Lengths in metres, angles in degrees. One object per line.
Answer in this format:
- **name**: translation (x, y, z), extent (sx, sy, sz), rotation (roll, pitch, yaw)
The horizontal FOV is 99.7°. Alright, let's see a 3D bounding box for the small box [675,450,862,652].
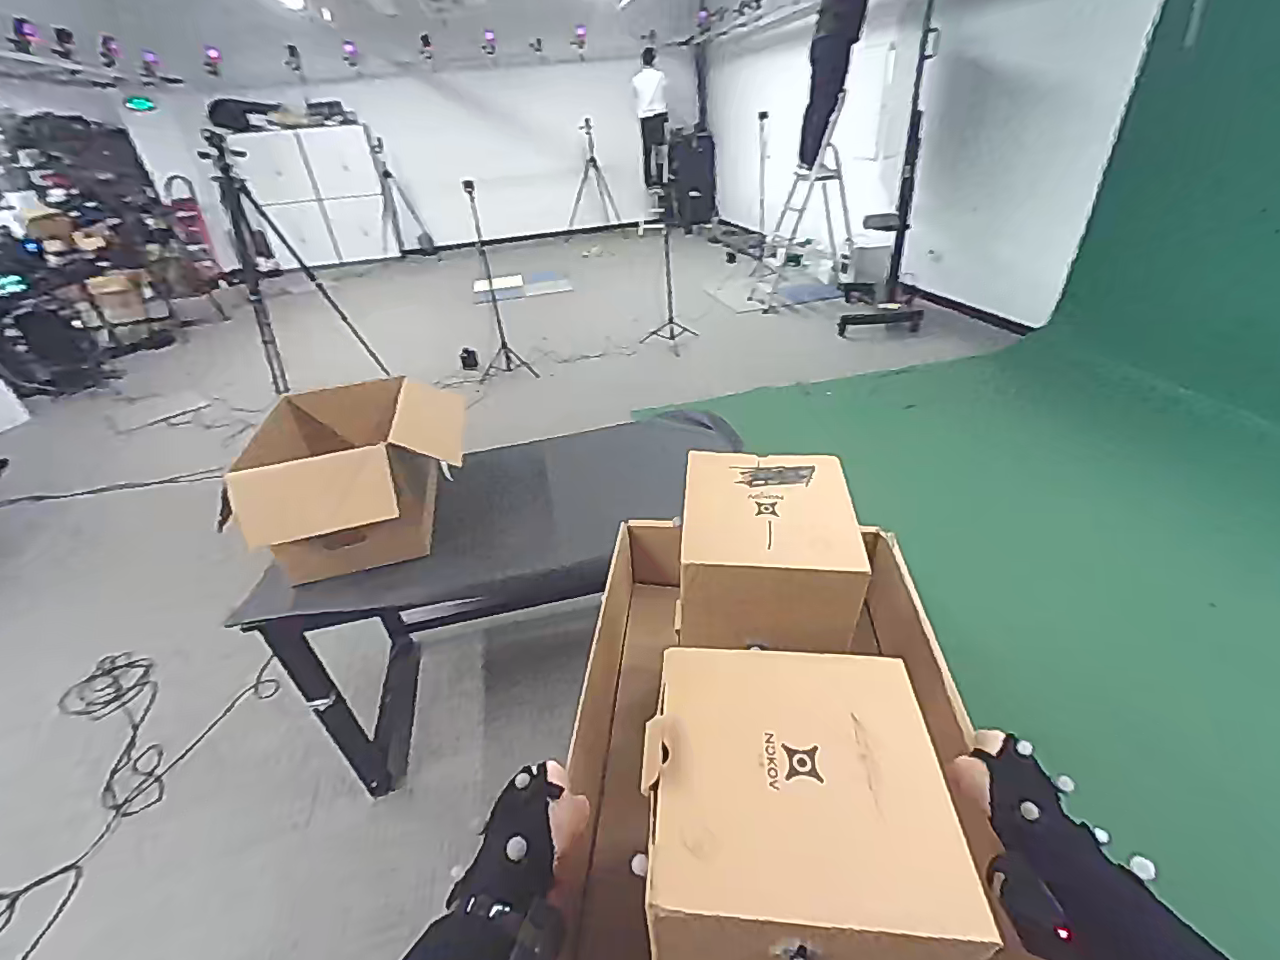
- **small box**: translation (0.127, 0.088, 0.595), extent (0.168, 0.176, 0.179), rotation (3, 39, 7)

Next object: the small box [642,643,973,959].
- **small box**: translation (0.097, 0.243, 0.395), extent (0.179, 0.176, 0.168), rotation (2, 37, 5)
